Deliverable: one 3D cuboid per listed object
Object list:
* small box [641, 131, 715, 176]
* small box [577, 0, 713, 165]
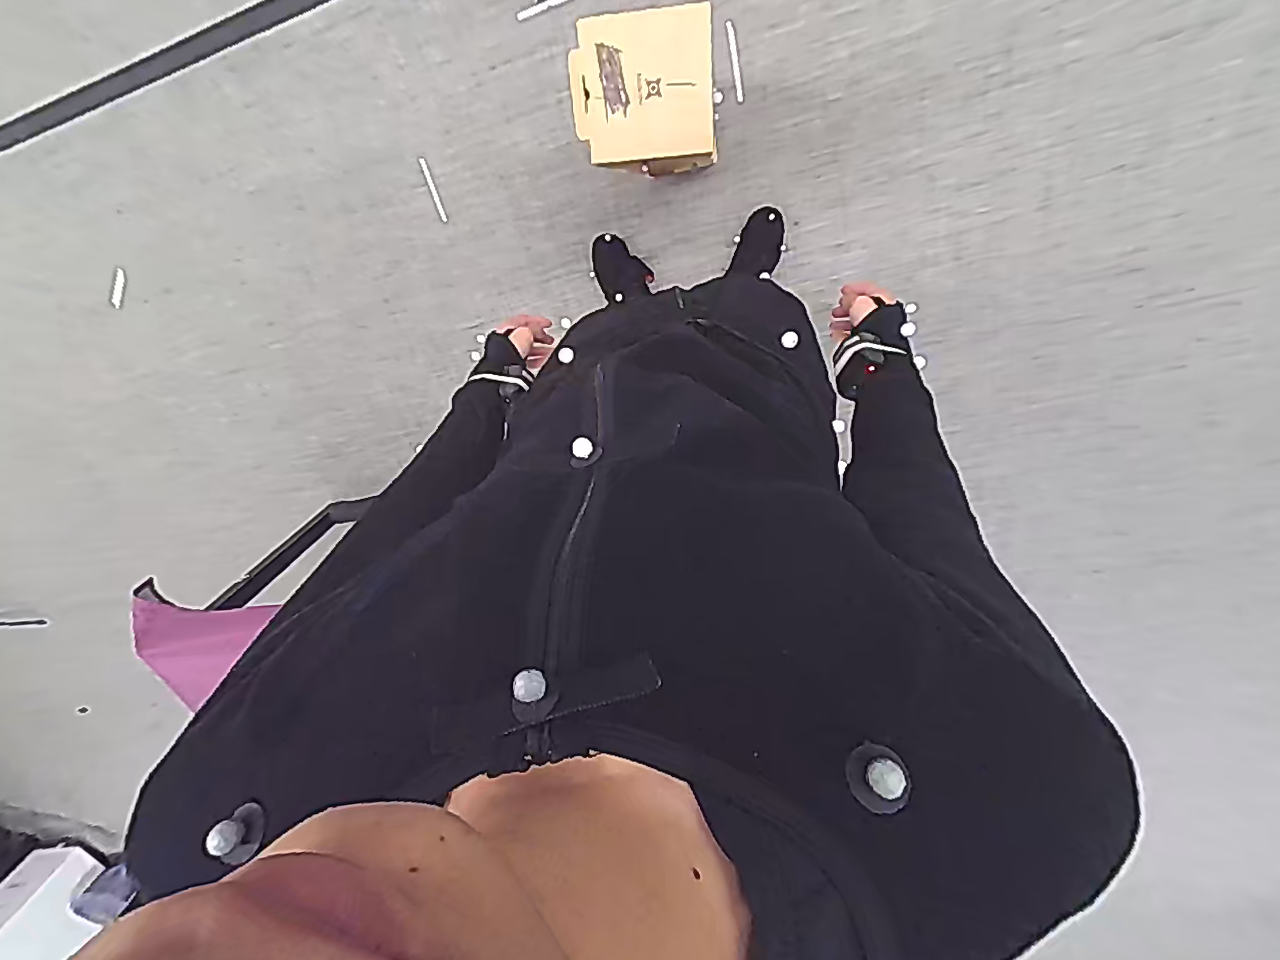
[{"bbox_3d":[0.080,-0.802,1.221,0.168,0.176,0.179,-7,117,11],"label":"small box"},{"bbox_3d":[0.017,-0.566,0.792,0.179,0.176,0.168,-2,118,7],"label":"small box"}]
